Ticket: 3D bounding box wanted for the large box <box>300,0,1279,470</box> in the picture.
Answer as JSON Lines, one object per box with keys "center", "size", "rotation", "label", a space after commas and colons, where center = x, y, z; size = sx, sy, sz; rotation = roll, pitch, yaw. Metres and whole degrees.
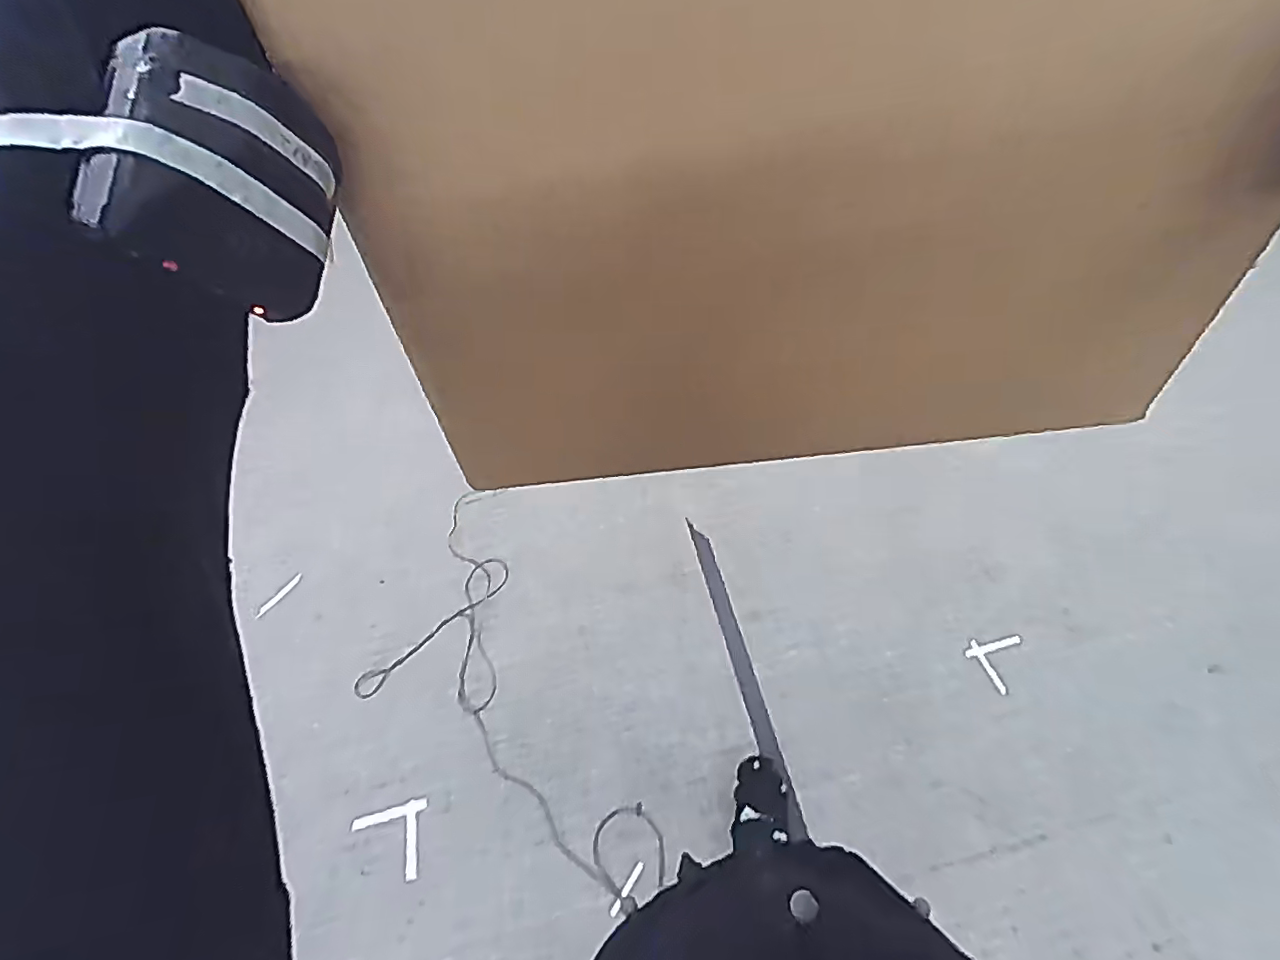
{"center": [0.072, -0.235, 0.340], "size": [0.408, 0.320, 0.320], "rotation": [-6, 45, 0], "label": "large box"}
